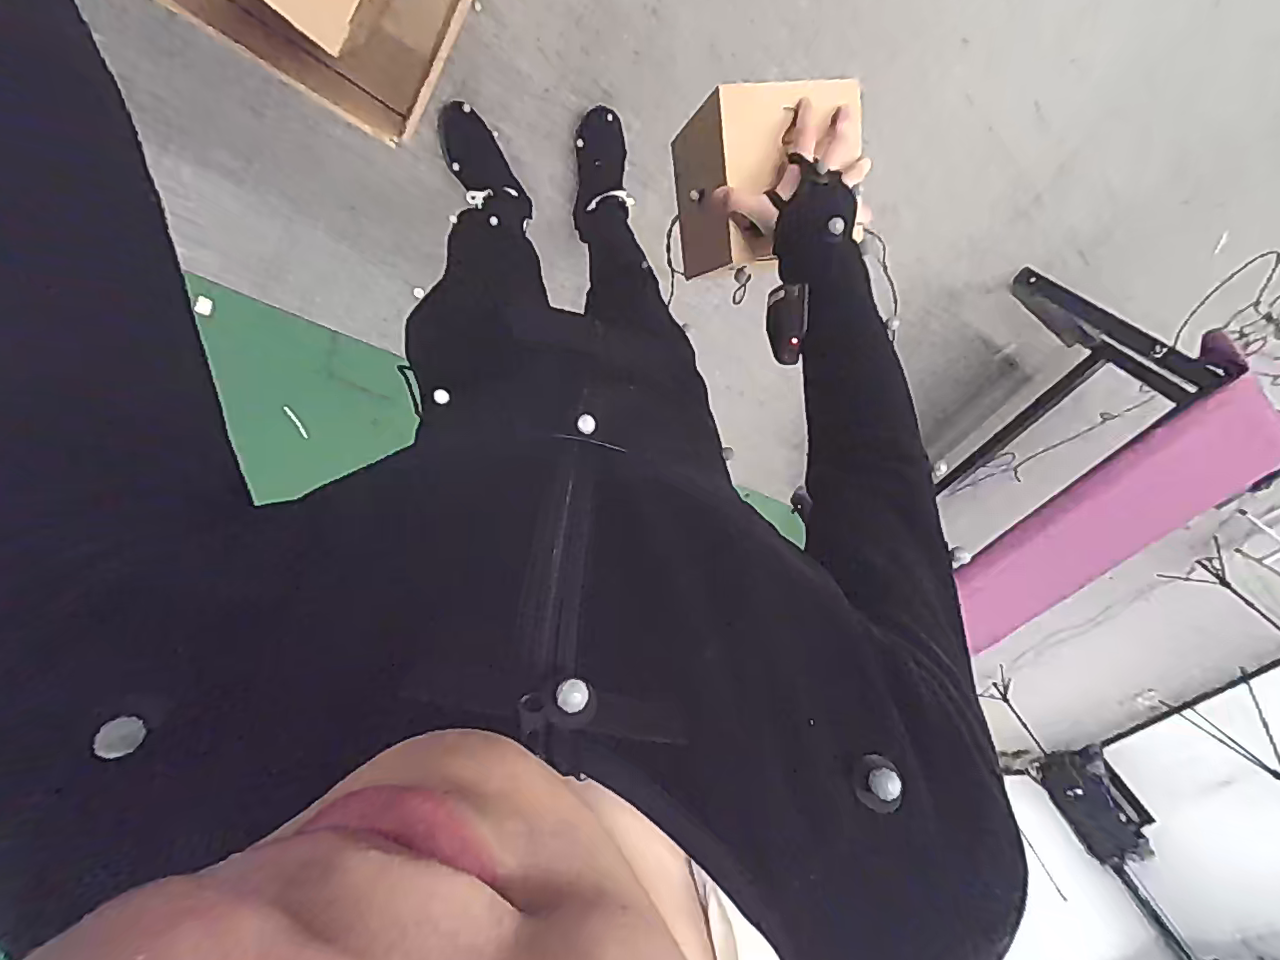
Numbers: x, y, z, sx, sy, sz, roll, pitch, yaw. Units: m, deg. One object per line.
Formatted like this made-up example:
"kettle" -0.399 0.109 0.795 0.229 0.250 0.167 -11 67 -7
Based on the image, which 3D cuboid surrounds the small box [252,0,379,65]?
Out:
"small box" -0.322 -0.539 0.499 0.179 0.176 0.168 29 117 -37
